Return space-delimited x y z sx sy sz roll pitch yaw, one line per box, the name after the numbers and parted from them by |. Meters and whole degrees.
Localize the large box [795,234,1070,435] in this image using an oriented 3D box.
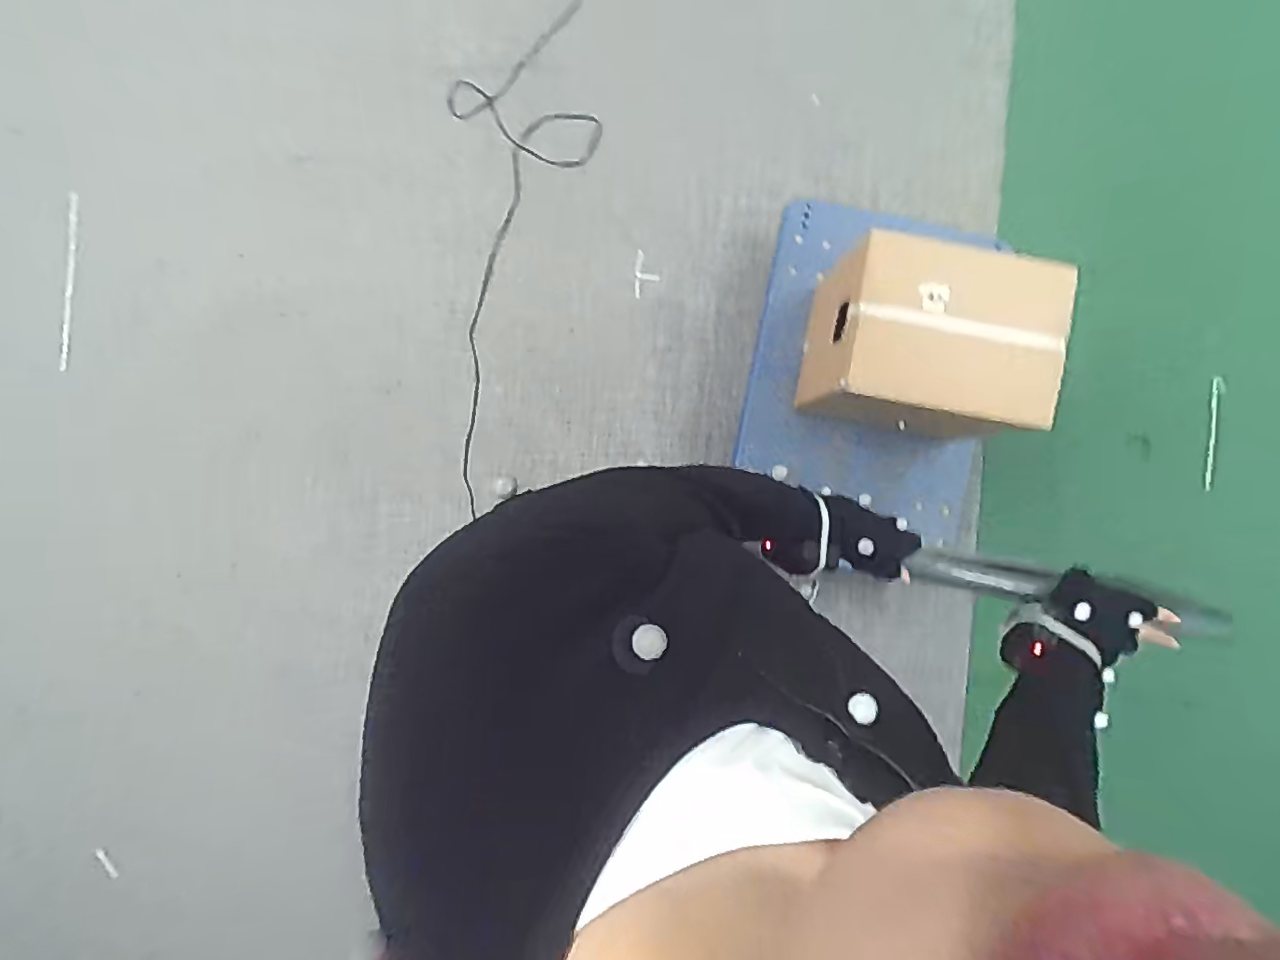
0.601 -0.288 1.179 0.408 0.320 0.320 11 89 0 | large box
